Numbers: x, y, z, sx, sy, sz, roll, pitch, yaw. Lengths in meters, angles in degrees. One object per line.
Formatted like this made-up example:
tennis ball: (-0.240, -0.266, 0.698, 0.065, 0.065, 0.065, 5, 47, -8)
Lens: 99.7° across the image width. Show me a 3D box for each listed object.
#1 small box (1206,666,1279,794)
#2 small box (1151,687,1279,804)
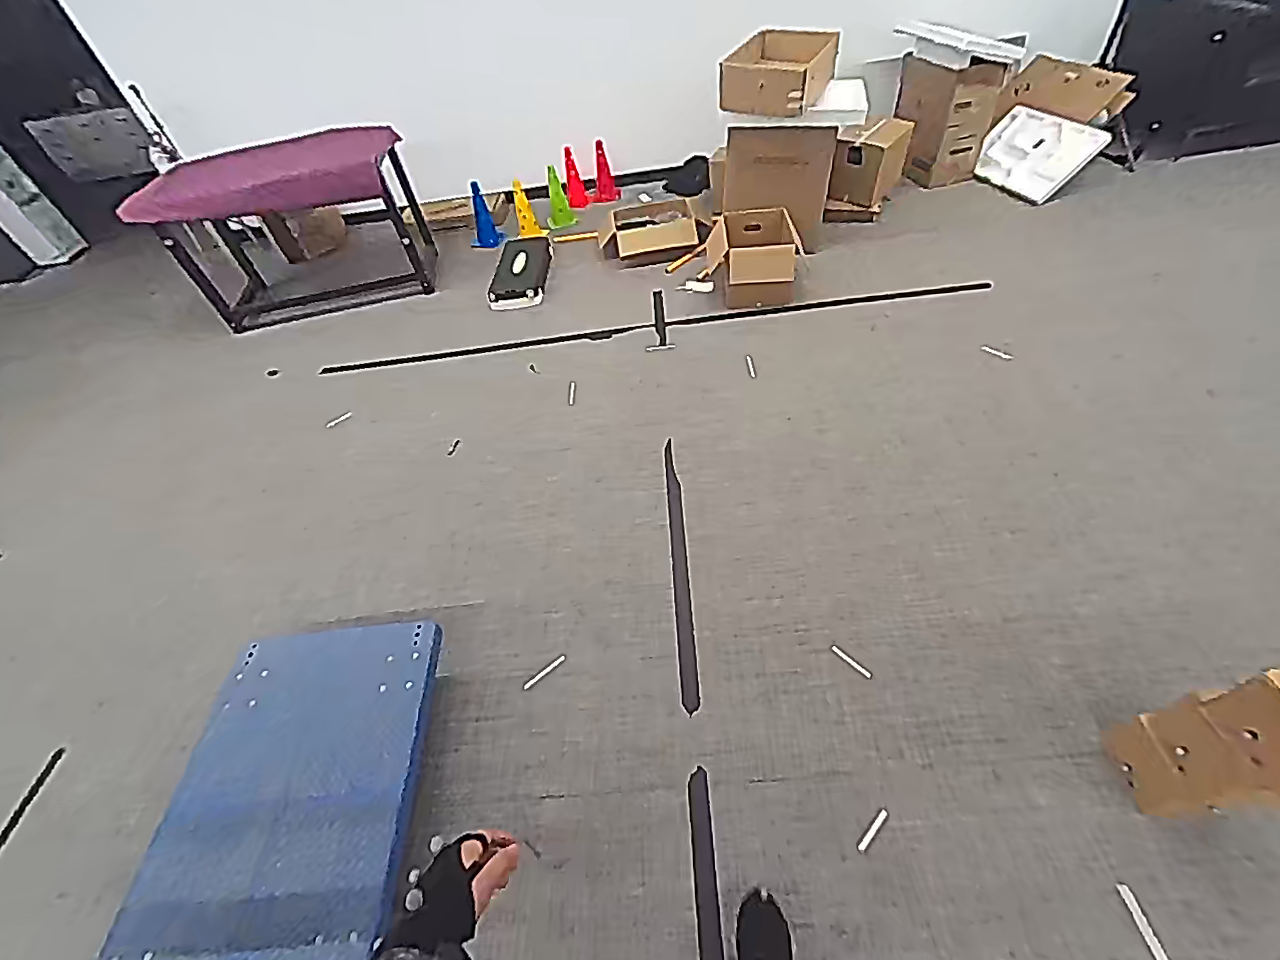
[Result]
small box: (1.146, 0.412, 0.911, 0.179, 0.176, 0.168, -12, 47, -1)
small box: (1.164, 0.511, 1.040, 0.179, 0.176, 0.168, -4, 47, 7)
